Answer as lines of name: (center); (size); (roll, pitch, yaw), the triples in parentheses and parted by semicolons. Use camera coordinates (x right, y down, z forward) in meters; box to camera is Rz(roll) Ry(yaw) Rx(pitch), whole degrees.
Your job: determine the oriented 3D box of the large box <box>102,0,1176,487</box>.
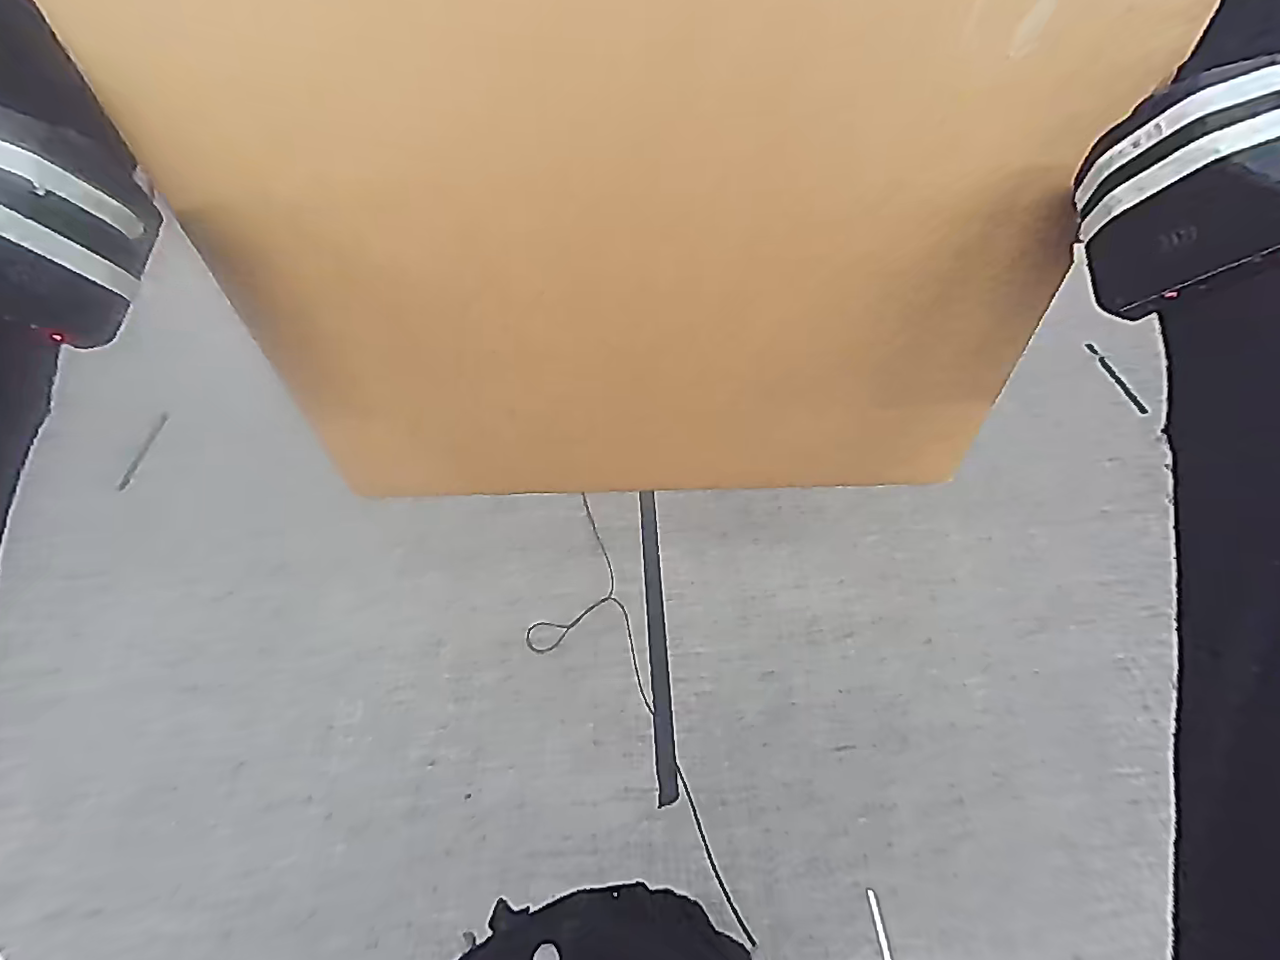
large box: (0.001, -0.211, 0.370); (0.408, 0.320, 0.320); (-1, 47, 0)
